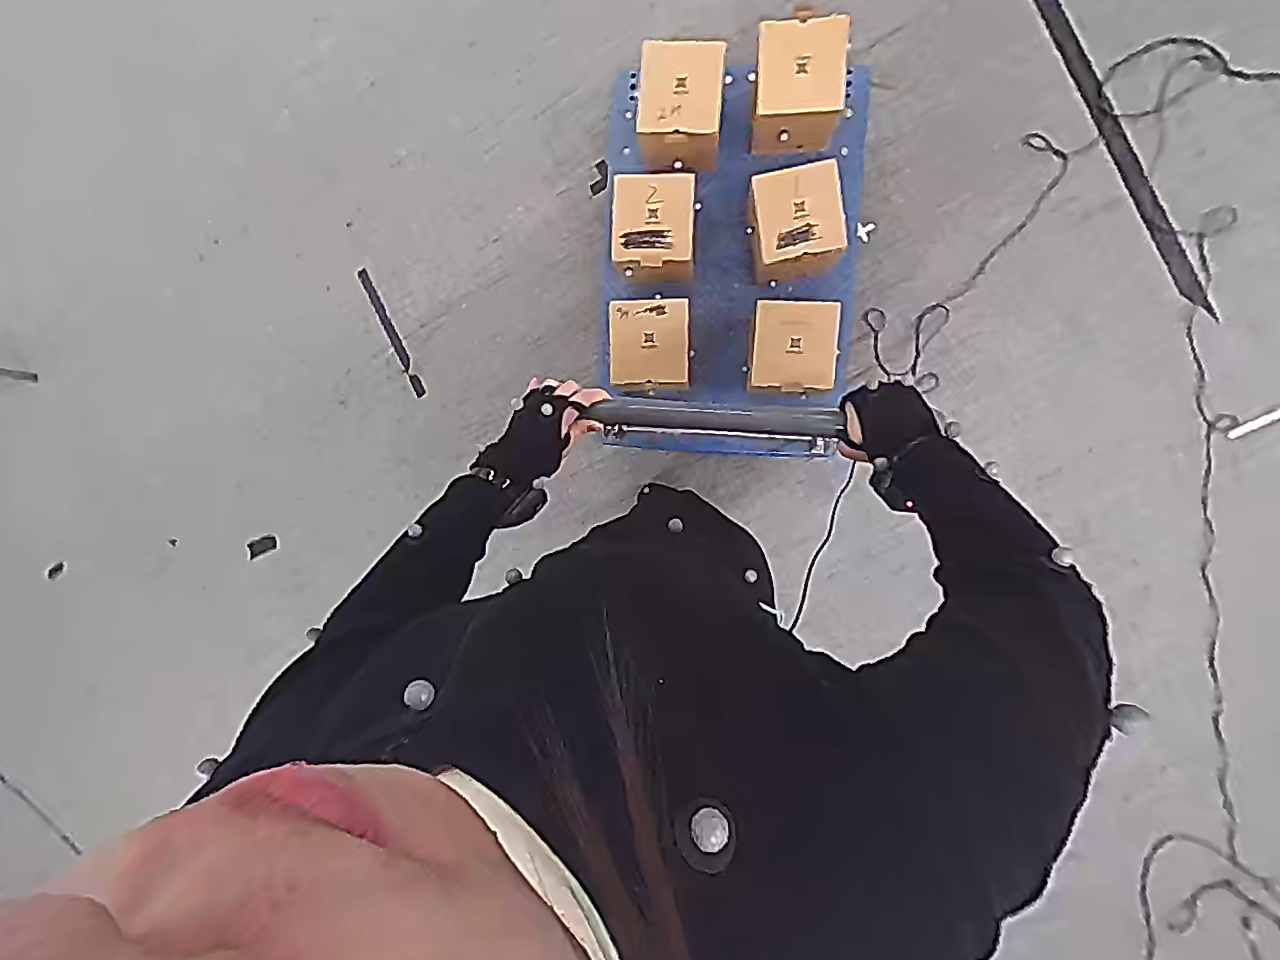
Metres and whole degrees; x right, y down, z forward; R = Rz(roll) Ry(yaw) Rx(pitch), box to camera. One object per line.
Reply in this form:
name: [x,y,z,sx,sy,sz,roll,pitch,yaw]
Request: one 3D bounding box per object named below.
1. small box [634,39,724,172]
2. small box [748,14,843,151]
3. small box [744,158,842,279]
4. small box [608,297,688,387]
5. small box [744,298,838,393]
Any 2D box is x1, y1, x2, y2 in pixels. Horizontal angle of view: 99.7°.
small box: [0.084,-0.792,1.156,0.168,0.176,0.179,6,96,6]
small box: [0.317,-0.814,1.130,0.168,0.176,0.179,1,95,6]
small box: [0.319,-0.542,1.153,0.168,0.176,0.179,-8,93,7]
small box: [0.024,-0.299,1.207,0.168,0.176,0.179,0,95,6]
small box: [0.319,-0.286,1.176,0.168,0.176,0.179,4,95,6]
